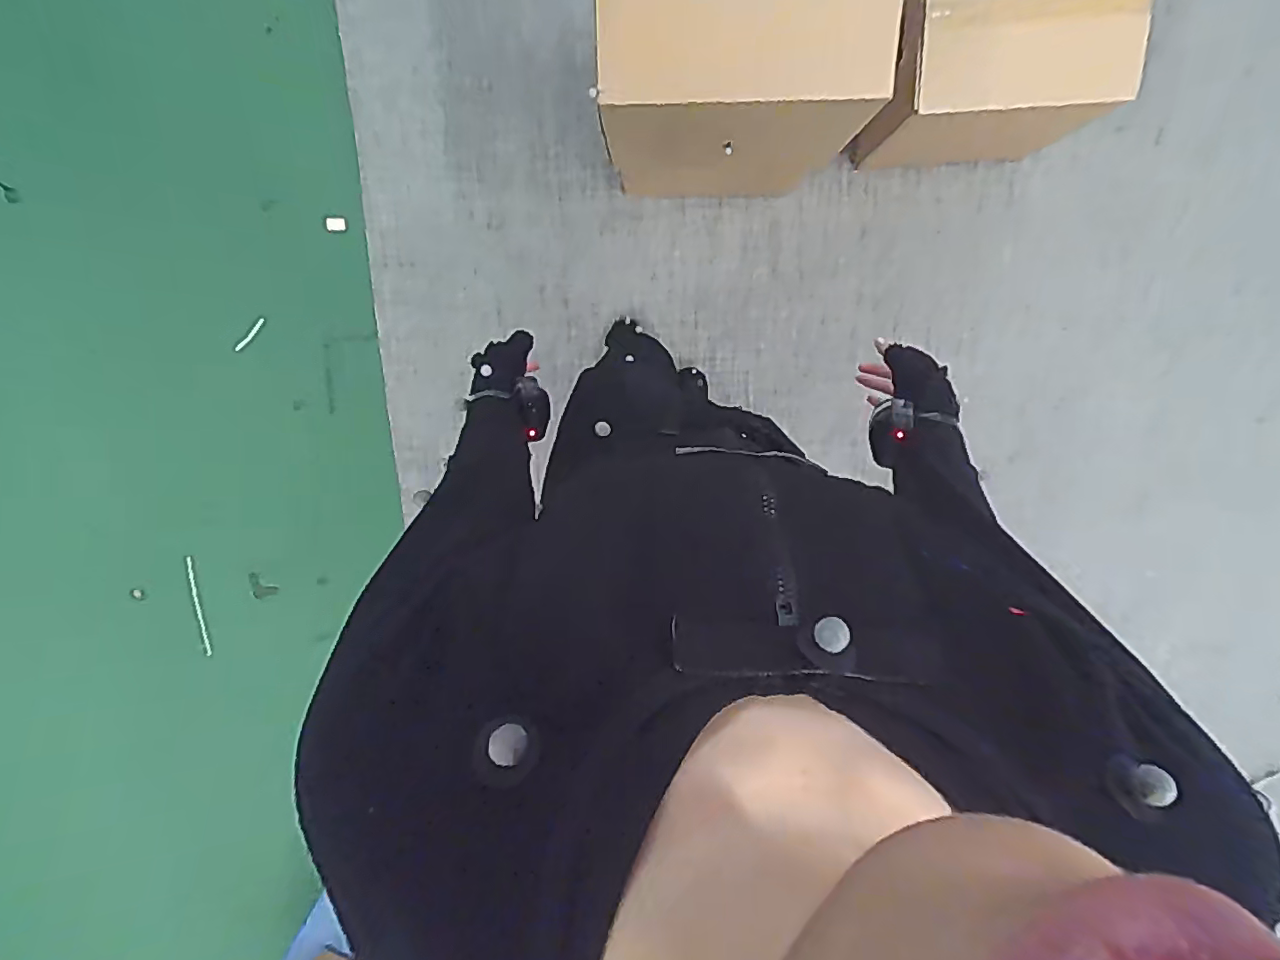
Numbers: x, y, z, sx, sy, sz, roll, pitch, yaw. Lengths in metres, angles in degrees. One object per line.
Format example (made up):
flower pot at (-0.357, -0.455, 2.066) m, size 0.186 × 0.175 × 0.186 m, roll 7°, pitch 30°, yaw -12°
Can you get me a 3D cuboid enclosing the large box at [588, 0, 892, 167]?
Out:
large box at (0.136, -0.702, 0.840) m, size 0.408 × 0.320 × 0.320 m, roll 0°, pitch 105°, yaw 2°
